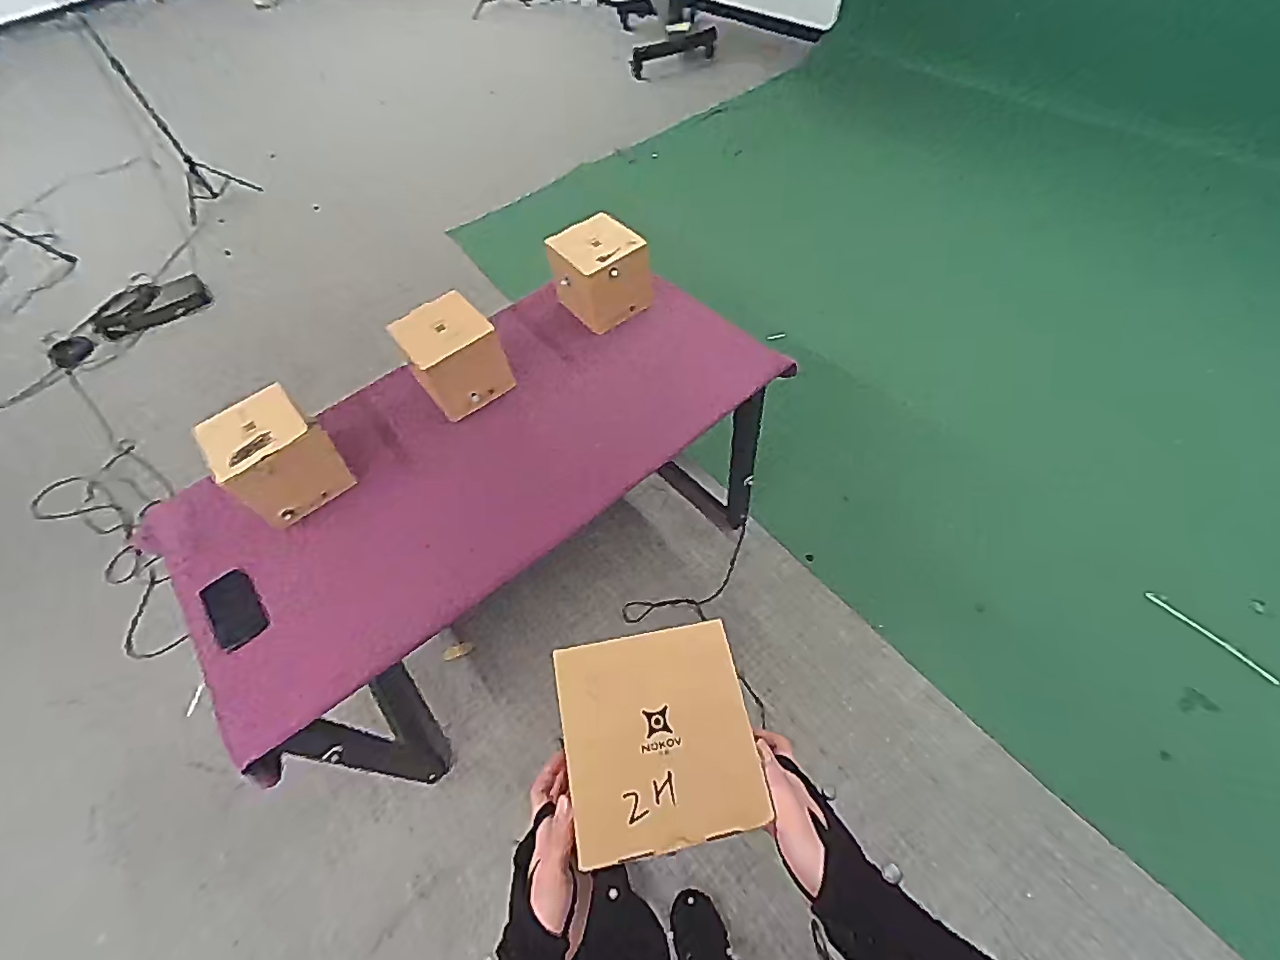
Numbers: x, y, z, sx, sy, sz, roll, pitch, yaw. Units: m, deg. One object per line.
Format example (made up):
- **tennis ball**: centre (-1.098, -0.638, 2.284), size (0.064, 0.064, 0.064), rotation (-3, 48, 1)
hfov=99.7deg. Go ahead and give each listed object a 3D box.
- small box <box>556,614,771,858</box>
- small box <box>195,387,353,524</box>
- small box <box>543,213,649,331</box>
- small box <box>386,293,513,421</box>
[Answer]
- **small box**: centre (0.012, 0.254, 0.546), size (0.168, 0.176, 0.179), rotation (-9, 62, -6)
- **small box**: centre (-0.695, -0.038, 1.044), size (0.168, 0.176, 0.179), rotation (-38, 60, -17)
- **small box**: centre (-0.099, -0.481, 1.264), size (0.168, 0.176, 0.179), rotation (-36, 60, -15)
- **small box**: centre (-0.401, -0.259, 1.157), size (0.168, 0.176, 0.179), rotation (-37, 61, -16)
